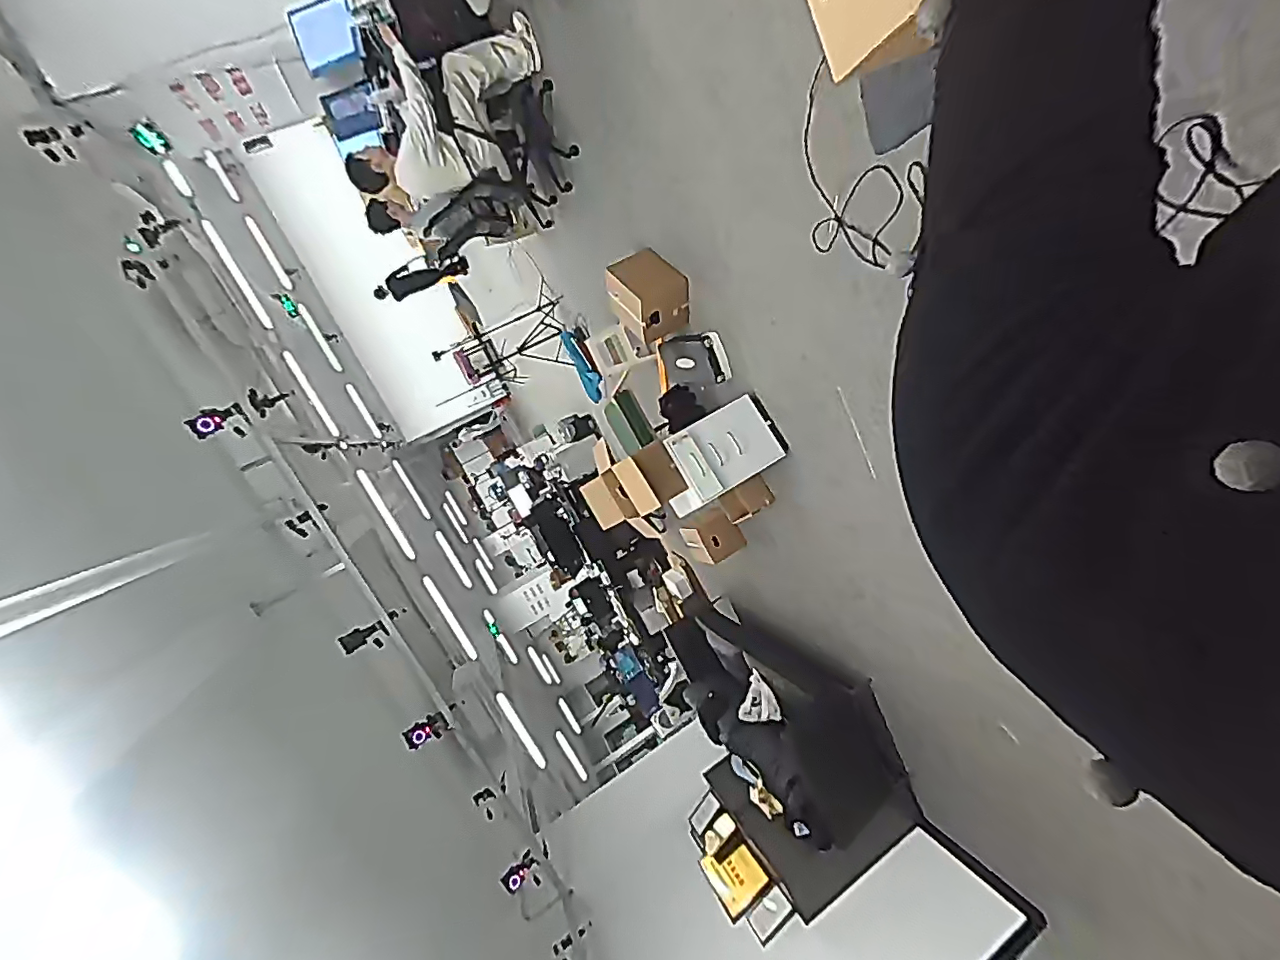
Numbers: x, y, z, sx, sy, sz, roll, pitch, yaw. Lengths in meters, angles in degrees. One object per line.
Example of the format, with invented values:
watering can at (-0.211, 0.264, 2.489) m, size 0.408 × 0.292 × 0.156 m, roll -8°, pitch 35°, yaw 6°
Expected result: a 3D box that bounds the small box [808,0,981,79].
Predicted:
small box at (0.300, -0.591, 0.582) m, size 0.168 × 0.176 × 0.179 m, roll 64°, pitch 166°, yaw -14°
